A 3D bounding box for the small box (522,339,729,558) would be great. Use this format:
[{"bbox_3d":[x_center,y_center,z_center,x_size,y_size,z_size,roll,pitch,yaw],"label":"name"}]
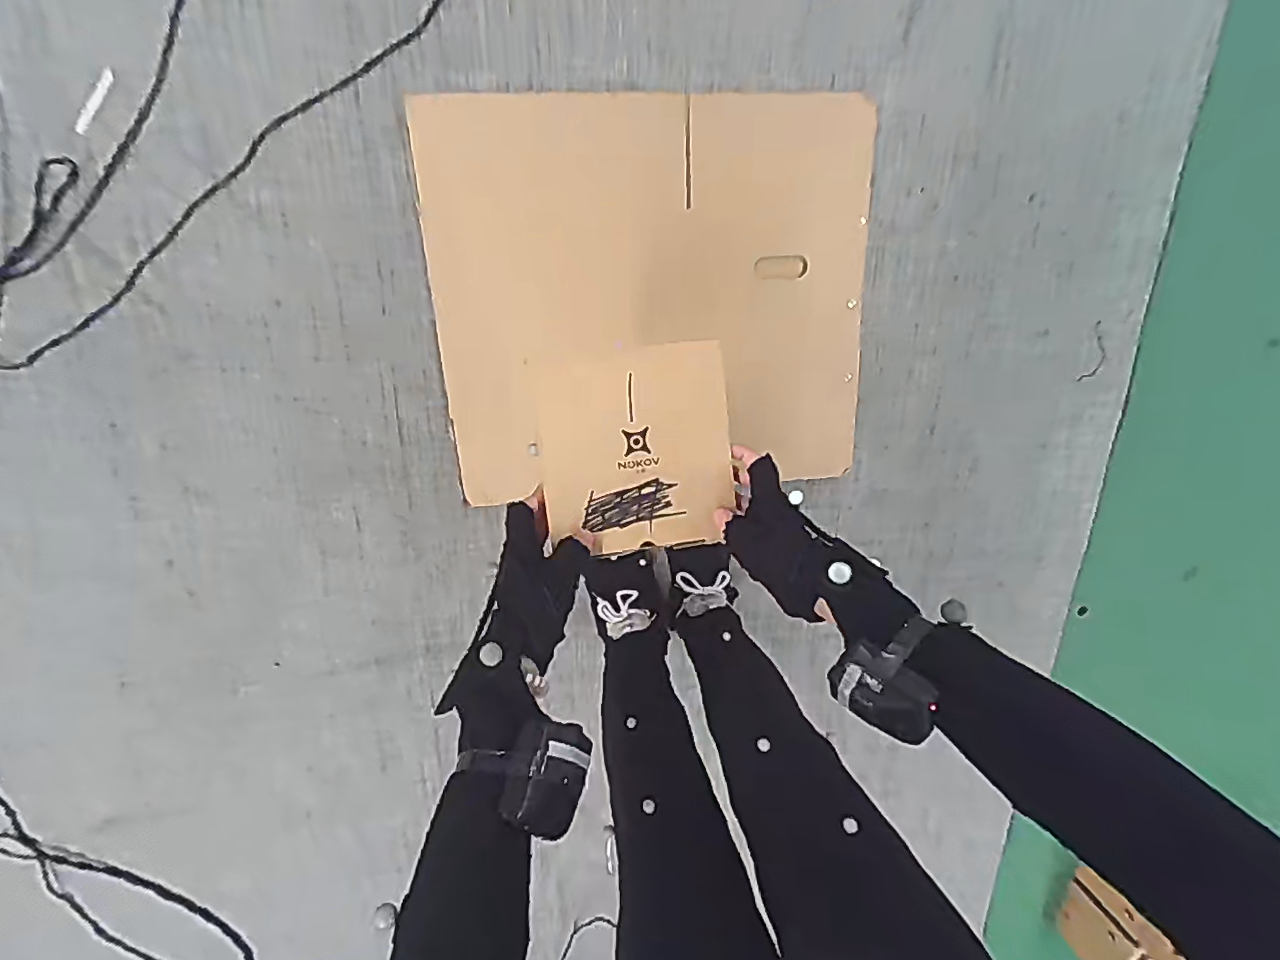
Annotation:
[{"bbox_3d":[-0.017,-0.037,0.542,0.168,0.176,0.179,-8,98,-6],"label":"small box"}]
